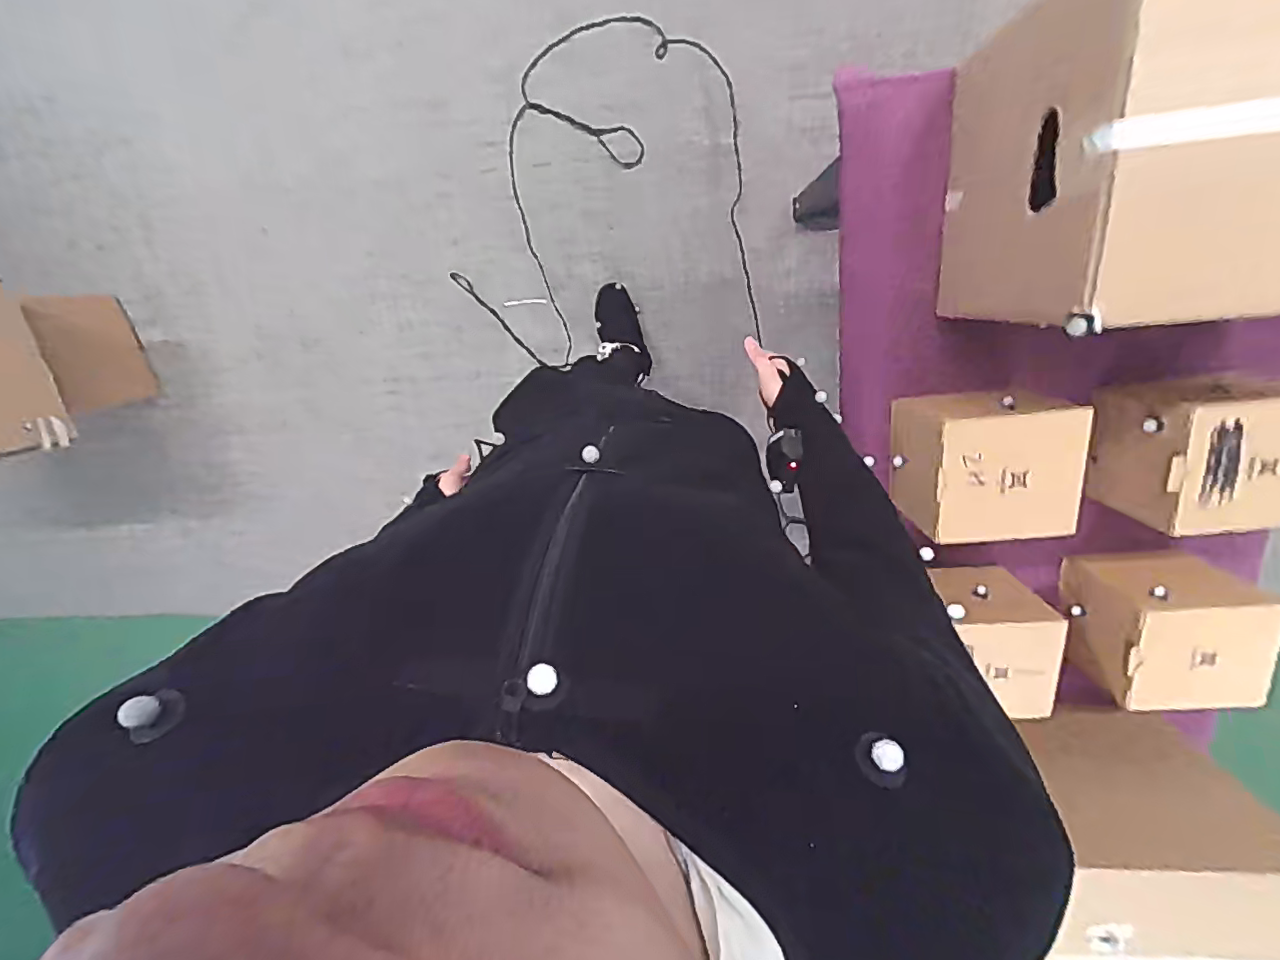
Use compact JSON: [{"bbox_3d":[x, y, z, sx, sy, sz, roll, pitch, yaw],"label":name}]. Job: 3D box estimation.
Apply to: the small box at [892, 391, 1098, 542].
[{"bbox_3d":[0.477,-0.026,0.755,0.179,0.176,0.168,-5,106,5],"label":"small box"}]
